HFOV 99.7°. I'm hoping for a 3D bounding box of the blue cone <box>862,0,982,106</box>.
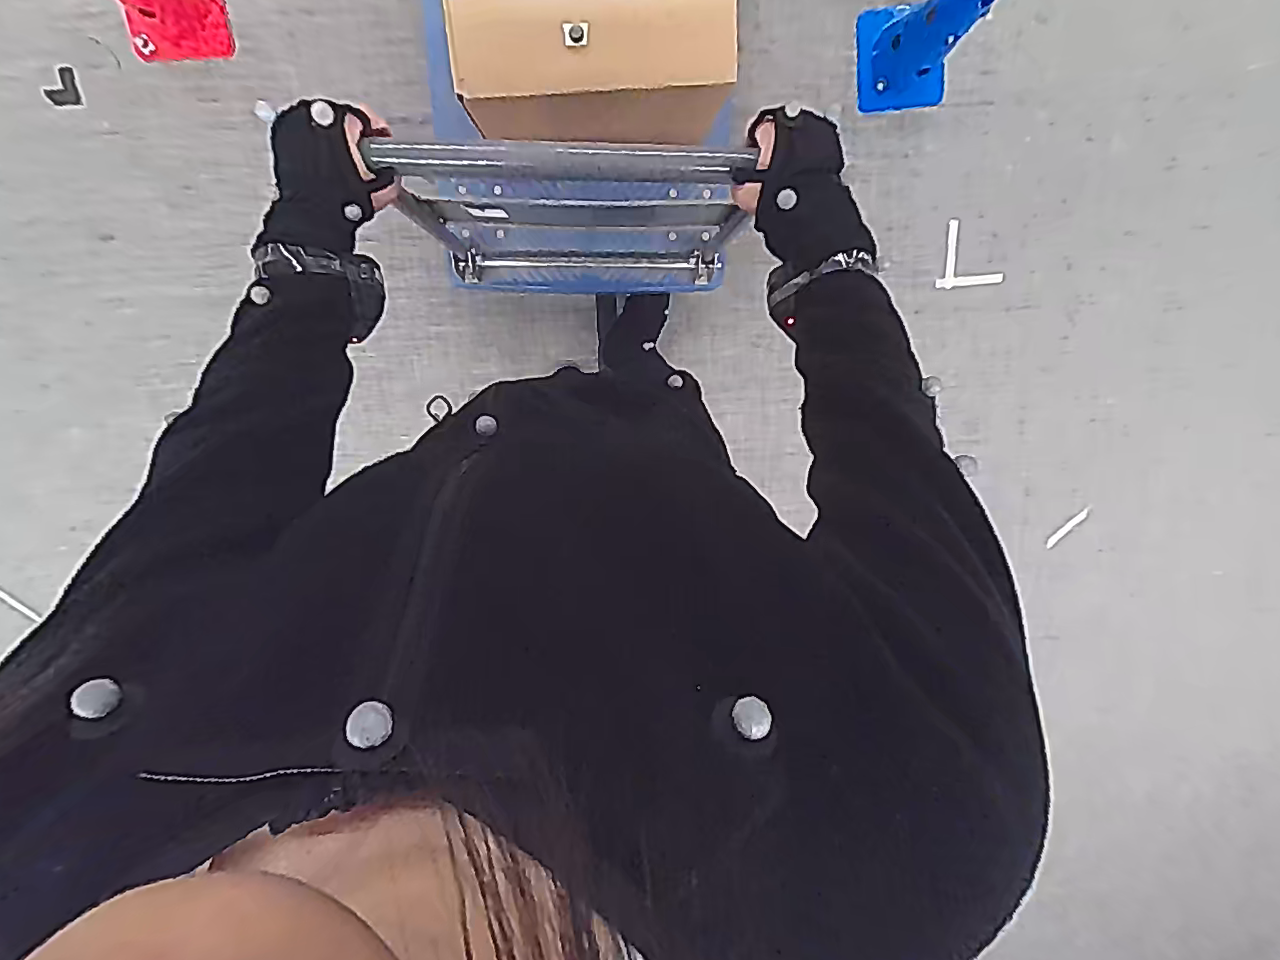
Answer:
[{"bbox_3d":[0.601,-0.905,1.049,0.193,0.380,0.192,-7,105,-2],"label":"blue cone"}]
